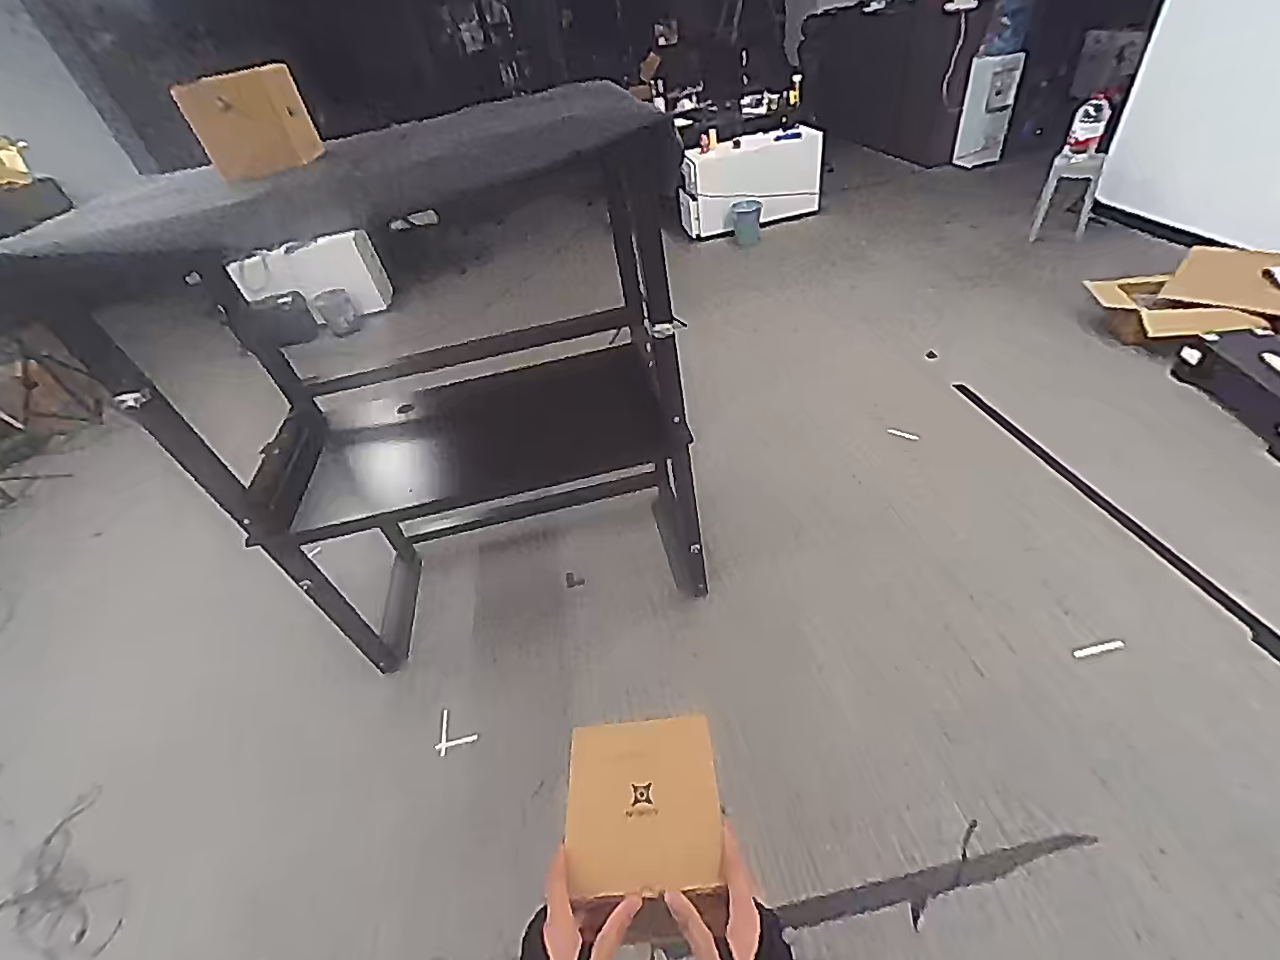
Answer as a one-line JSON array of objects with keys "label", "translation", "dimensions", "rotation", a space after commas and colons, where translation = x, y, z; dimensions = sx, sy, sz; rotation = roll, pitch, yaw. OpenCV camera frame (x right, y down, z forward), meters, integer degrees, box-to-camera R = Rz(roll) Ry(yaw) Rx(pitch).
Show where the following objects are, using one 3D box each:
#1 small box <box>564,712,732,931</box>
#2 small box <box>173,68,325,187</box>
[{"label": "small box", "translation": [0.014, 0.402, 0.634], "dimensions": [0.168, 0.176, 0.179], "rotation": [-6, 38, 2]}, {"label": "small box", "translation": [-0.809, -0.746, 1.146], "dimensions": [0.179, 0.176, 0.168], "rotation": [-13, 42, -1]}]
